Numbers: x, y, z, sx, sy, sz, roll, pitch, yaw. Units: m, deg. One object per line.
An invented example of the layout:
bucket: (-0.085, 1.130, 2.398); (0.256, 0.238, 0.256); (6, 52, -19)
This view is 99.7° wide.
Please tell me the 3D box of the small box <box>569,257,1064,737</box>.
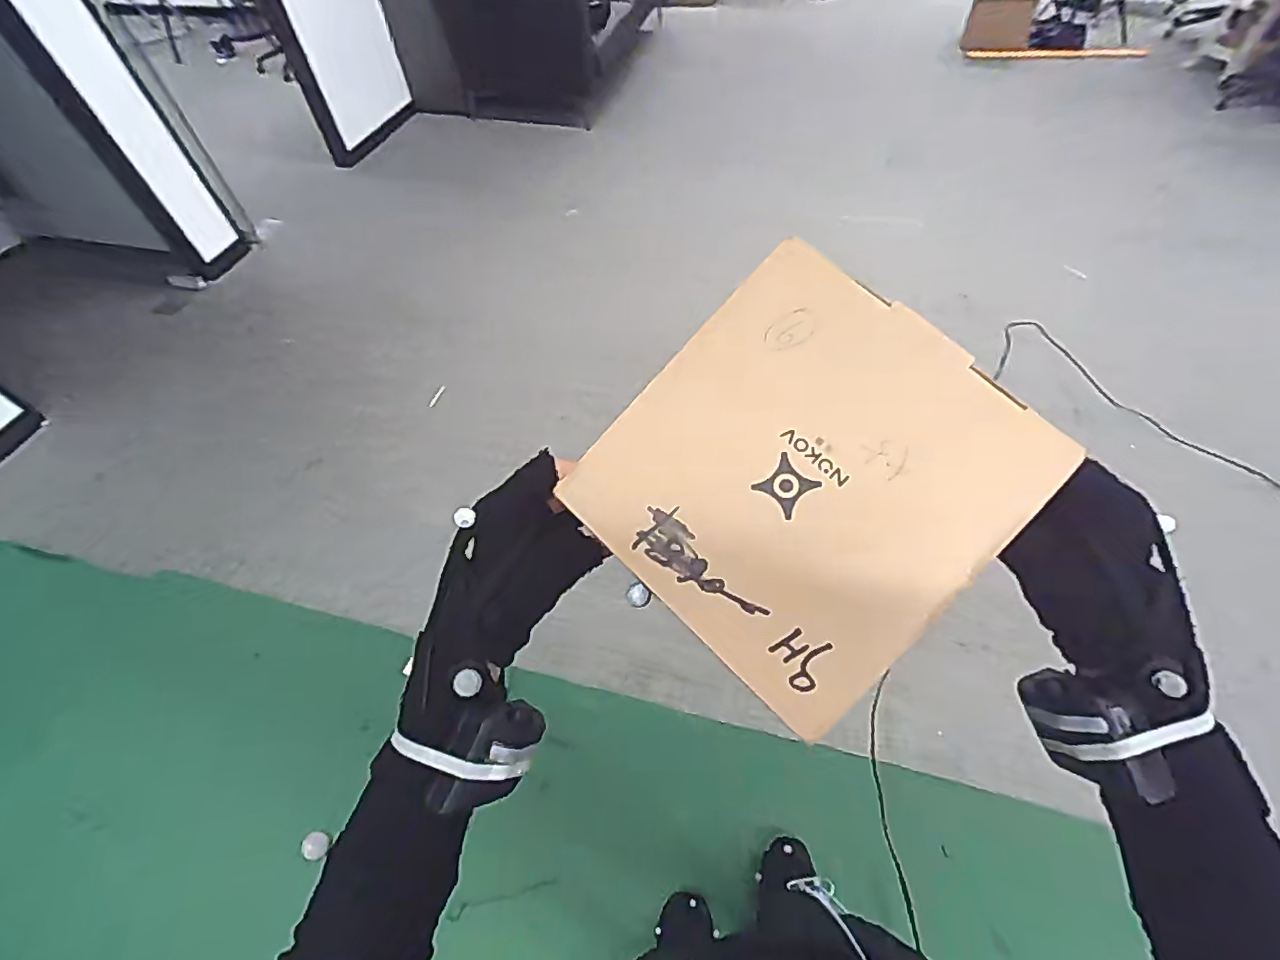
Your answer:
small box: (0.089, 0.012, 0.337); (0.168, 0.176, 0.179); (43, 90, 13)
